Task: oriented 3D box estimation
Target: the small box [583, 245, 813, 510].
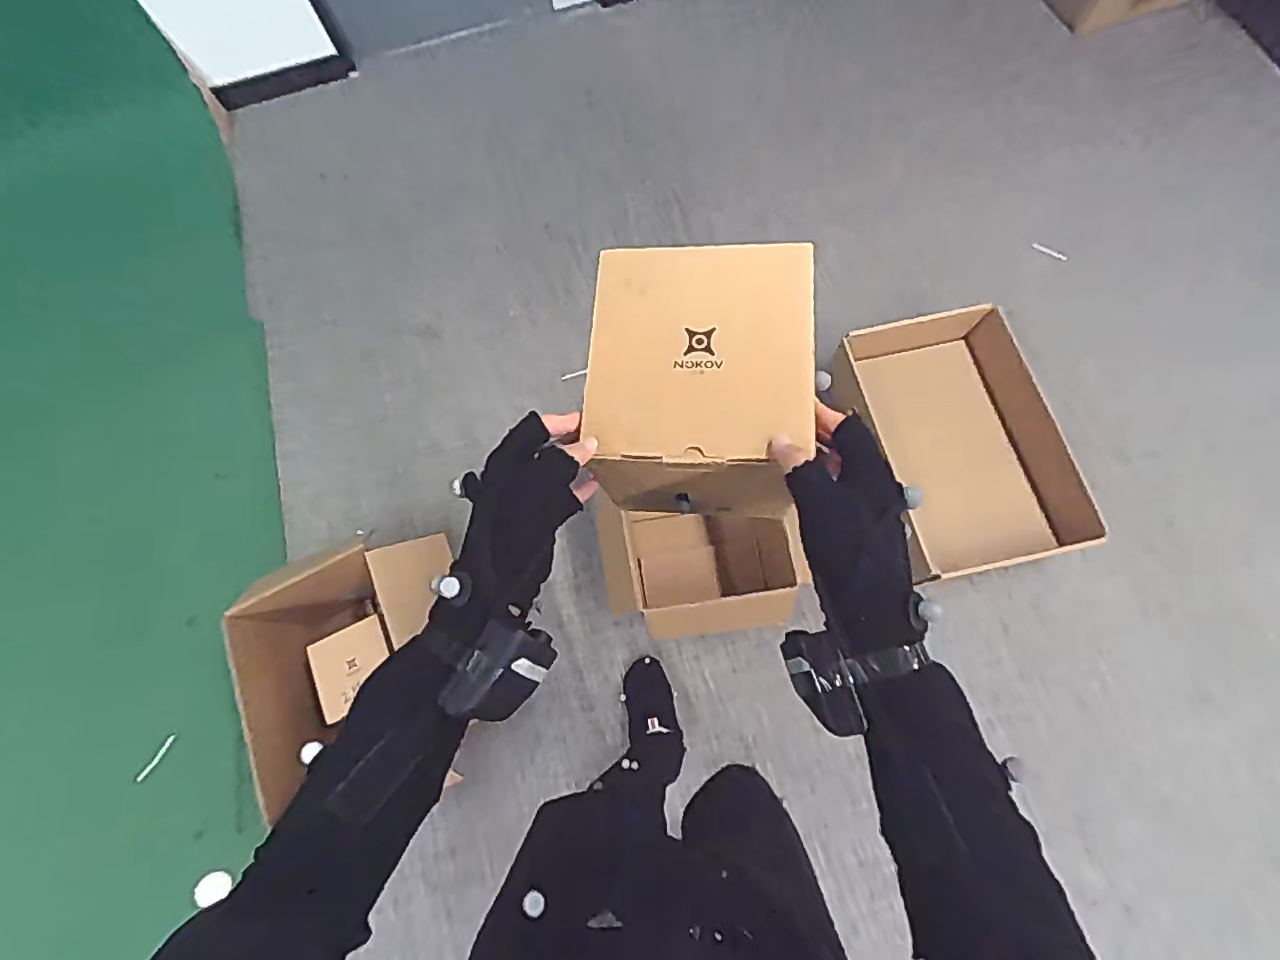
[{"bbox_3d":[0.055,-0.080,0.480,0.168,0.176,0.179,2,75,9],"label":"small box"}]
